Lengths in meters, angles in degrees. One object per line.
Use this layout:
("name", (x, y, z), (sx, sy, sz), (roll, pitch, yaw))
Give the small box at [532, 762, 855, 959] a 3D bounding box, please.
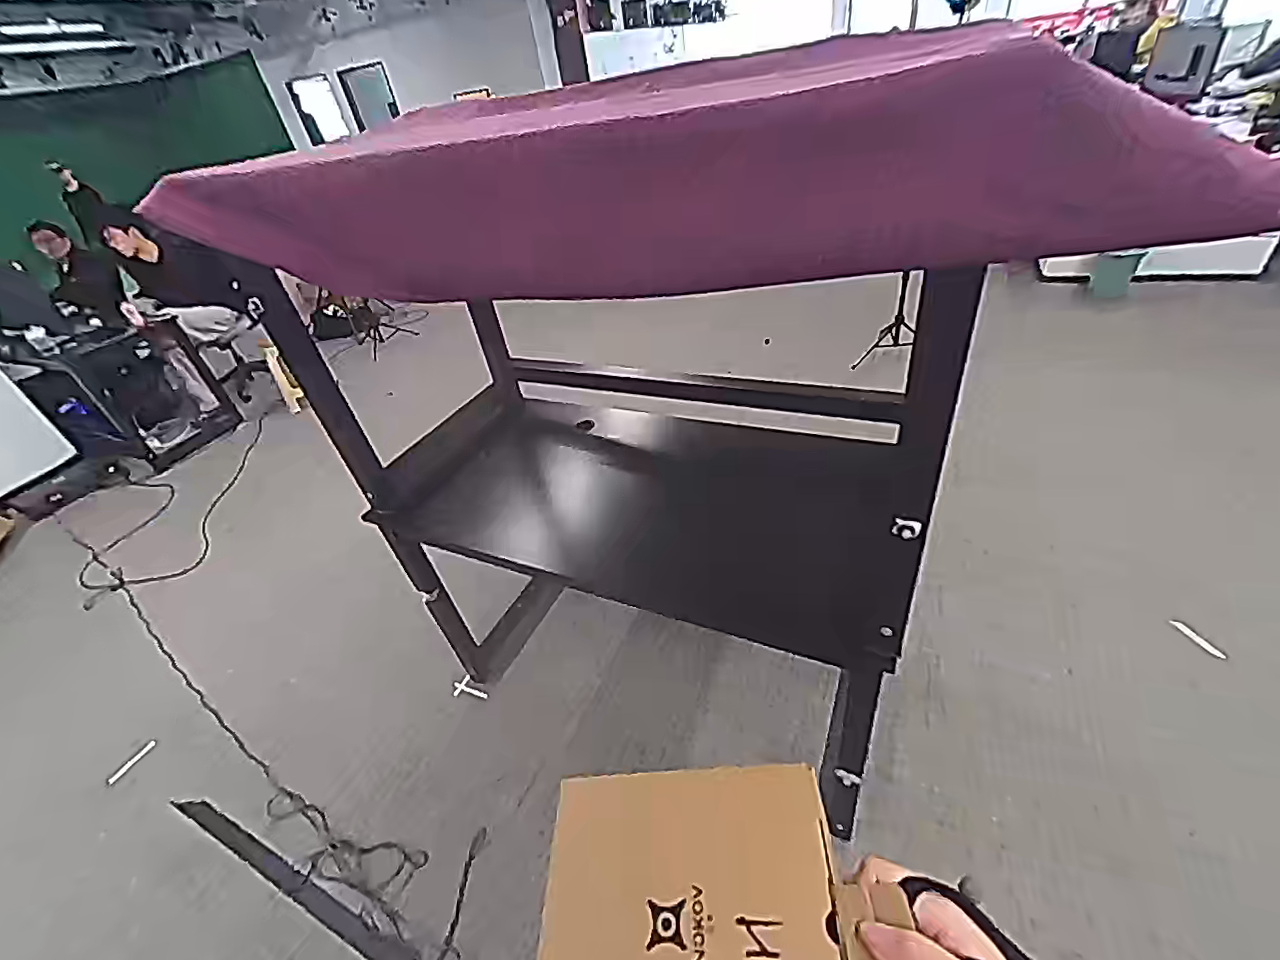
("small box", (0.045, 0.303, 0.350), (0.179, 0.176, 0.168), (-11, 43, 13))
